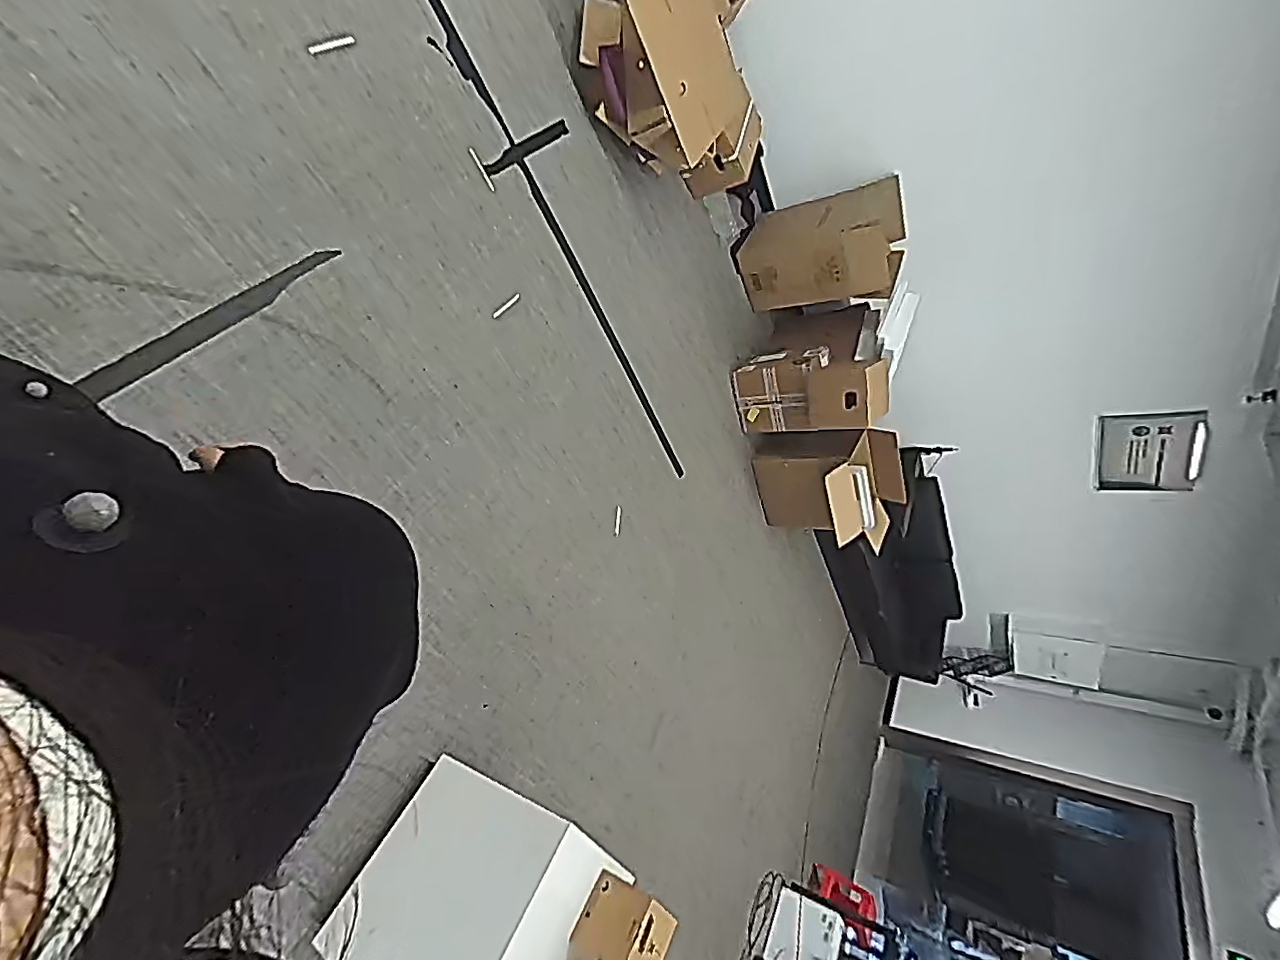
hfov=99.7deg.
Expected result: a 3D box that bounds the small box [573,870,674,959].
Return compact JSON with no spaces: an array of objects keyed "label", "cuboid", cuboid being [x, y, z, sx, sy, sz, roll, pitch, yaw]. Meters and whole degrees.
[{"label":"small box","cuboid":[-0.043,1.145,1.389,0.168,0.176,0.179,-54,131,-37]}]
